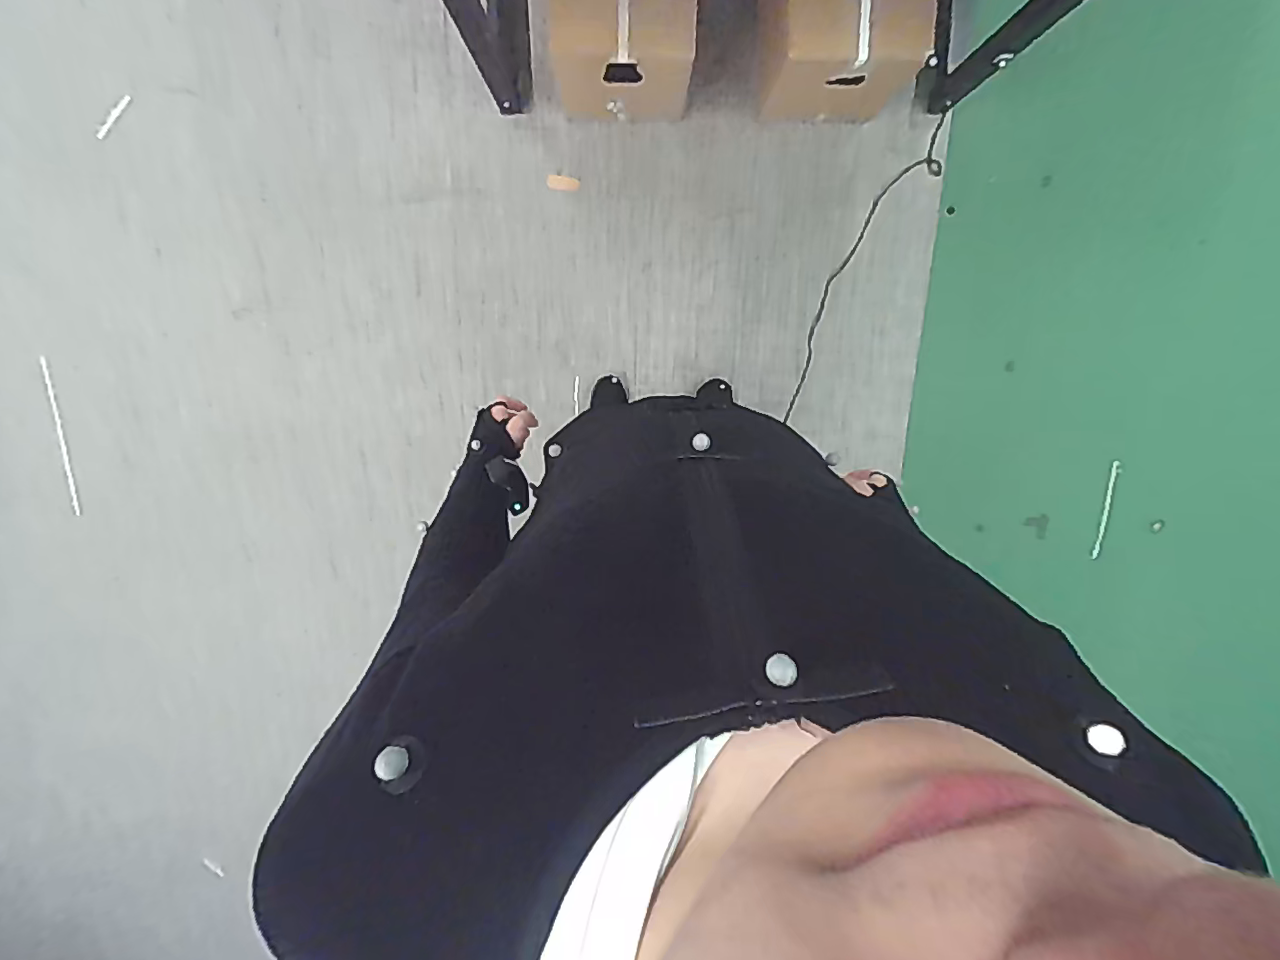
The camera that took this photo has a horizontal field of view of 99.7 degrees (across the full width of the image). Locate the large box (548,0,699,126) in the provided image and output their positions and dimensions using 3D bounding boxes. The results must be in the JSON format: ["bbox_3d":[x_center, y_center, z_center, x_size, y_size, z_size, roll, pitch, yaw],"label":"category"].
[{"bbox_3d":[-0.034,-1.103,1.247,0.320,0.320,0.408,1,101,-1],"label":"large box"}]
